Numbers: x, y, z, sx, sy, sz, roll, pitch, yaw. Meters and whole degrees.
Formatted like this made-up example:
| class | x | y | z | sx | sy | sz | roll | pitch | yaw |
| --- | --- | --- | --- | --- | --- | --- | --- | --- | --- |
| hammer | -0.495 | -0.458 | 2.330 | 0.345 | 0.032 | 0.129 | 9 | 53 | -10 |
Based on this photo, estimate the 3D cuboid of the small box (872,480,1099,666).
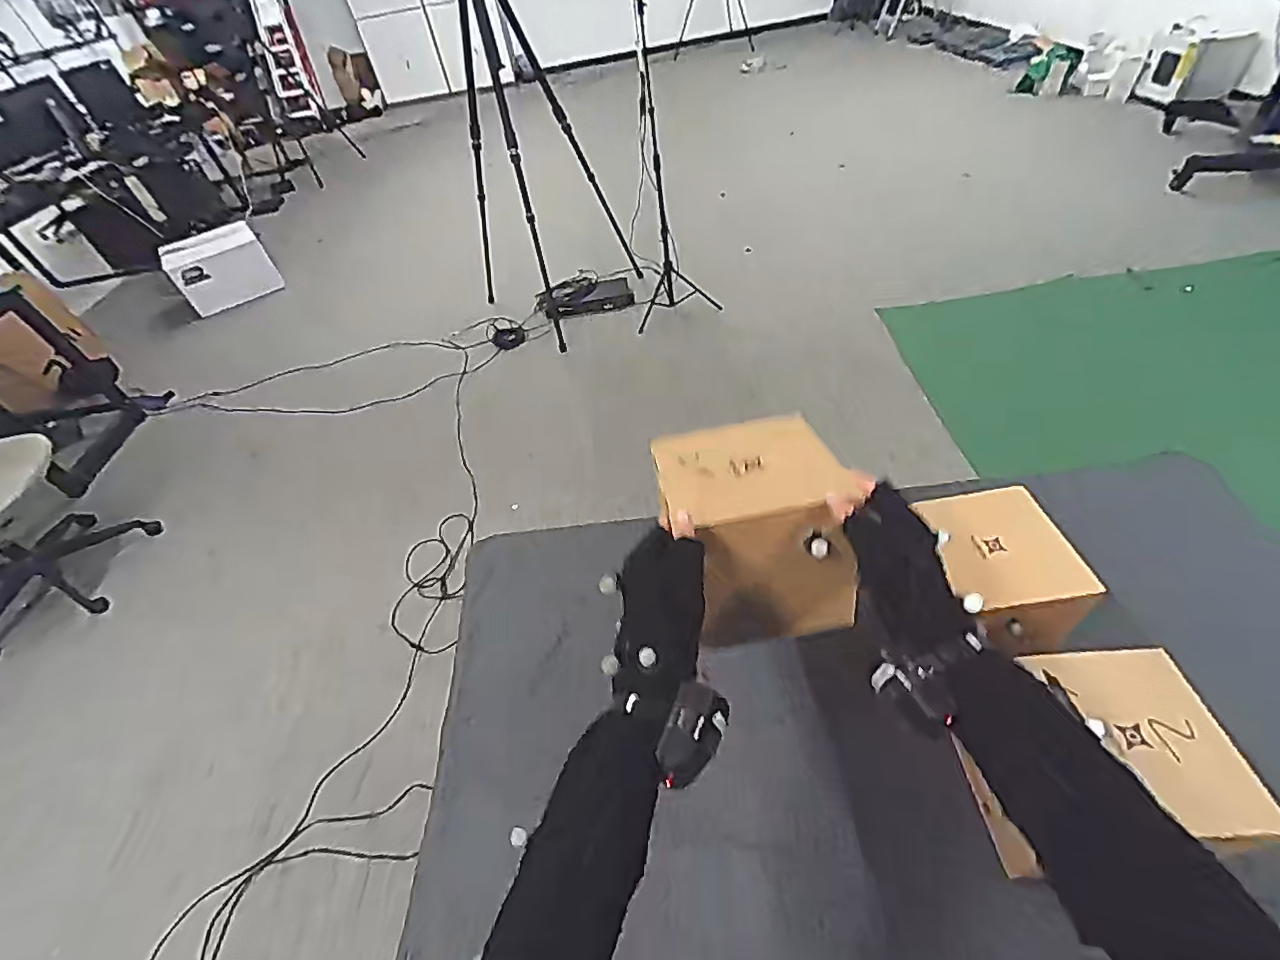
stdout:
| class | x | y | z | sx | sy | sz | roll | pitch | yaw |
| --- | --- | --- | --- | --- | --- | --- | --- | --- | --- |
| small box | 0.434 | 0.127 | 0.719 | 0.179 | 0.176 | 0.168 | -11 | 47 | 3 |
